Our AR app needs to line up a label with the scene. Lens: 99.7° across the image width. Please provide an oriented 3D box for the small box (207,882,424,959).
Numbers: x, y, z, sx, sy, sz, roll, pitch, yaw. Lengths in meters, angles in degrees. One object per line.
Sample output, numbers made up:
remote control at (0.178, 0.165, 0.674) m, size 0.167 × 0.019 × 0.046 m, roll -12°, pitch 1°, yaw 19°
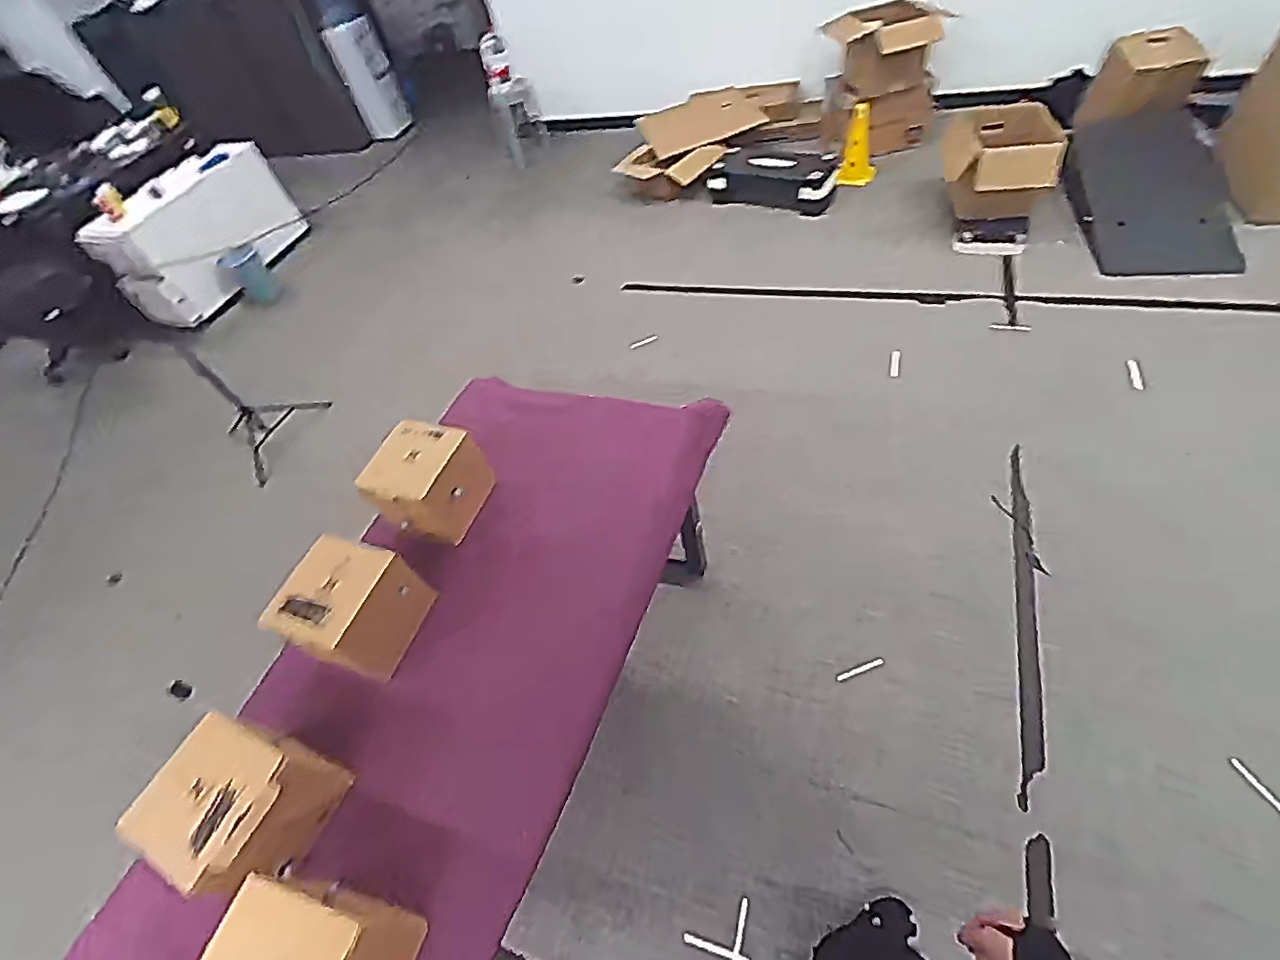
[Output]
small box at (-0.401, 0.611, 0.648) m, size 0.179 × 0.176 × 0.168 m, roll 6°, pitch 53°, yaw 16°

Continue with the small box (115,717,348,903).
small box at (-0.576, 0.477, 0.790) m, size 0.179 × 0.176 × 0.168 m, roll 15°, pitch 58°, yaw 22°
